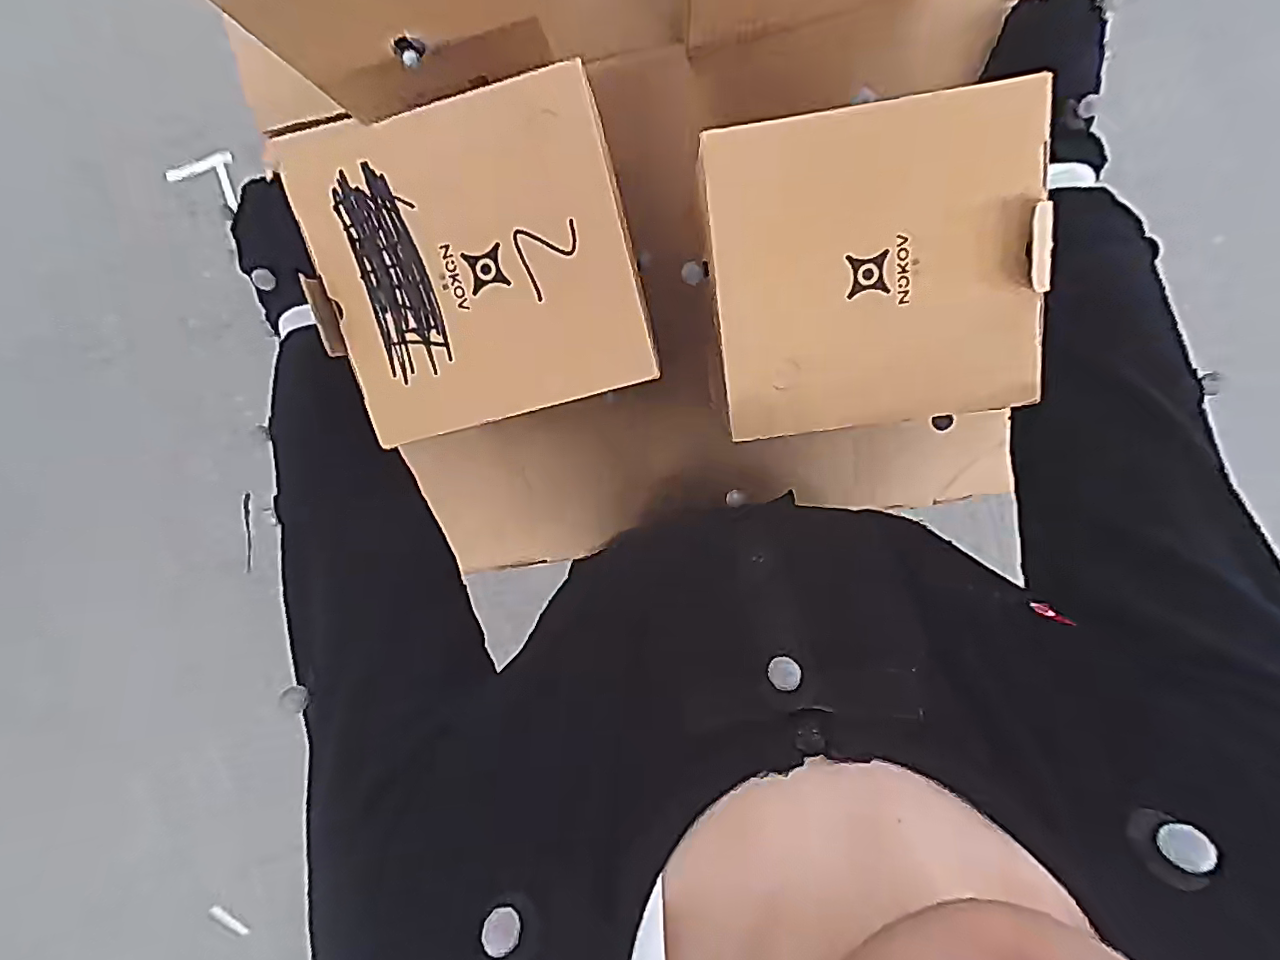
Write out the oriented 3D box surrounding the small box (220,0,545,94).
[{"bbox_3d":[-0.168,-0.377,0.333,0.168,0.176,0.179,-11,101,5],"label":"small box"}]
